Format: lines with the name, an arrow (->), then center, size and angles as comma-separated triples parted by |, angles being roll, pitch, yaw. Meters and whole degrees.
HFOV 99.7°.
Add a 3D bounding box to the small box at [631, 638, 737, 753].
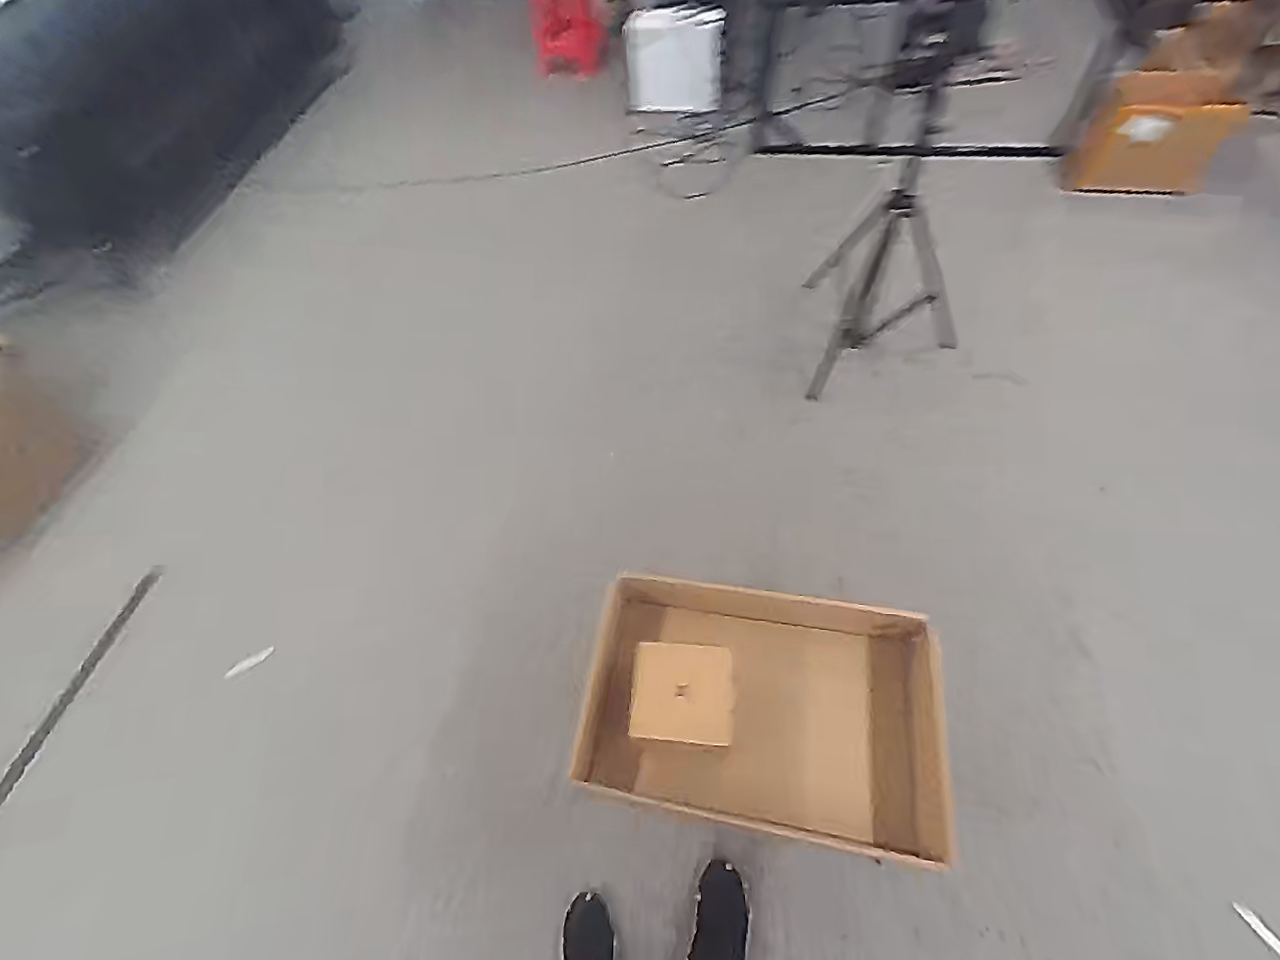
small box -> 0.088, 0.409, 1.015 | 0.179, 0.176, 0.168 | 3, 58, 9
